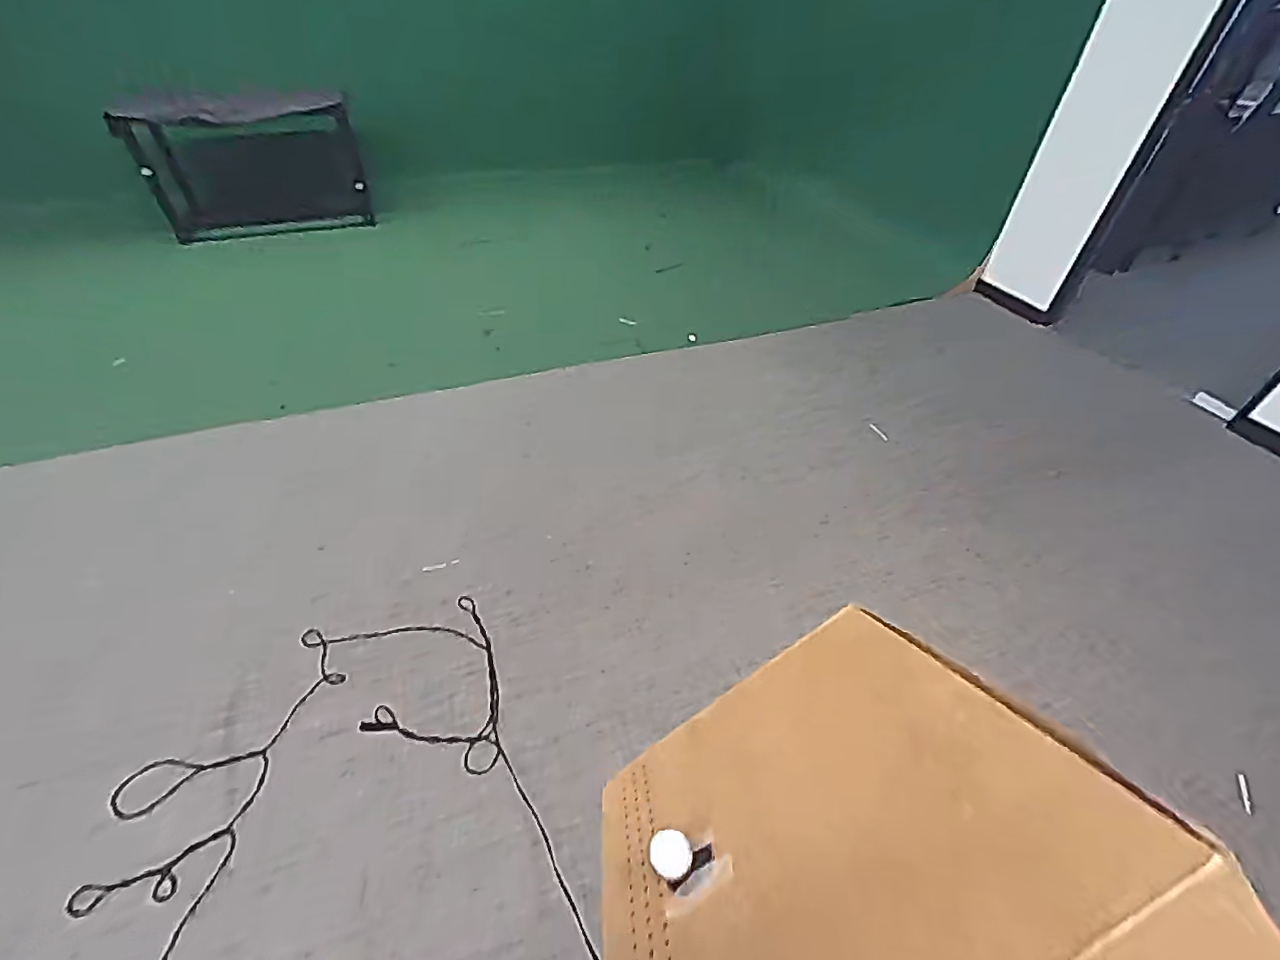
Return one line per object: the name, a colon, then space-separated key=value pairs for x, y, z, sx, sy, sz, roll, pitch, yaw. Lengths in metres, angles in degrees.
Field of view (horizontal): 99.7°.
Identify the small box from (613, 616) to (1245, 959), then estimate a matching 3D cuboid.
small box: x=0.101 y=0.193 z=0.218 sx=0.176 sy=0.168 sz=0.179 roll=-36 pitch=7 yaw=-1
